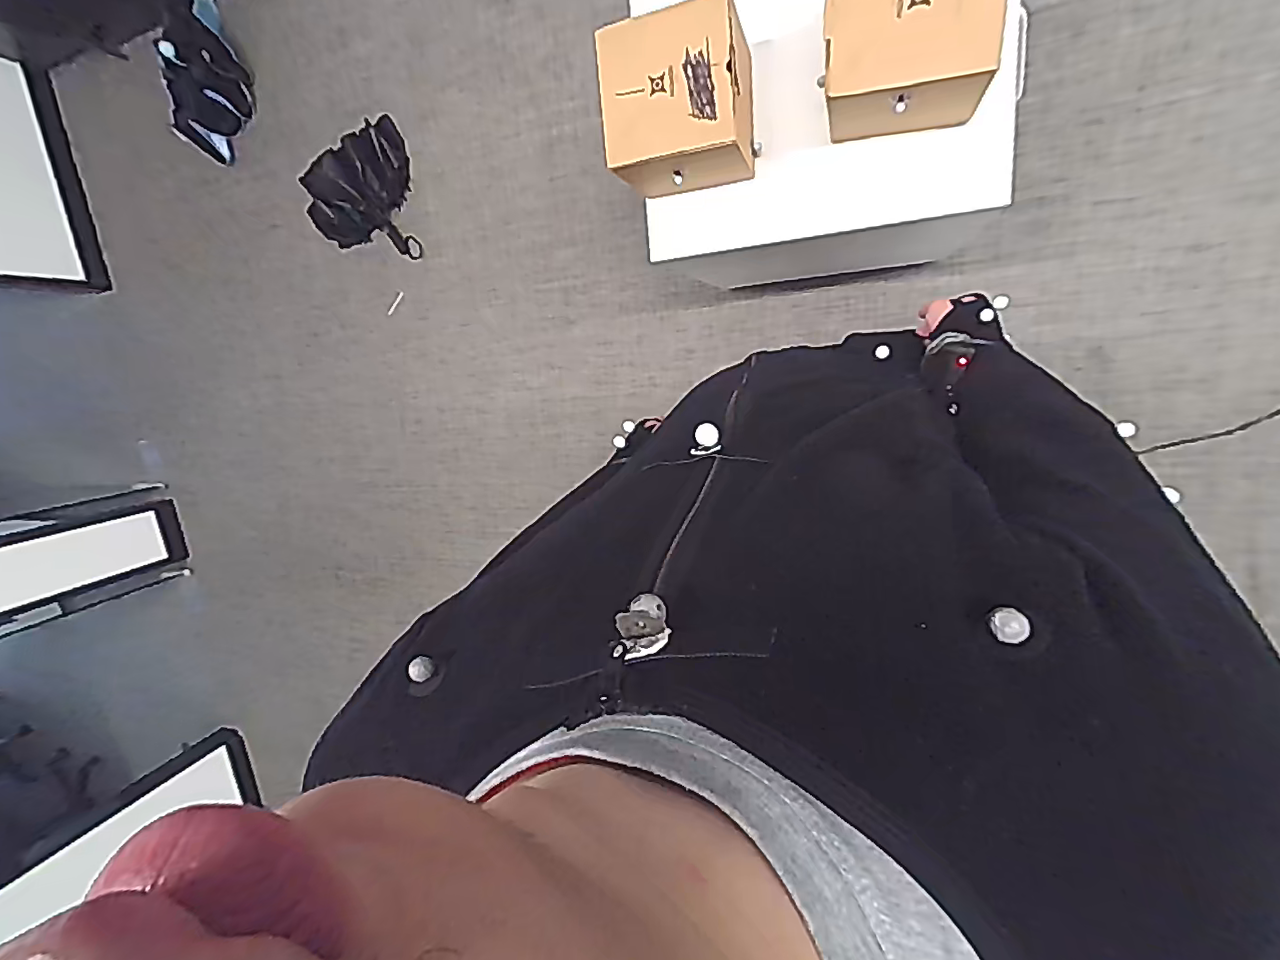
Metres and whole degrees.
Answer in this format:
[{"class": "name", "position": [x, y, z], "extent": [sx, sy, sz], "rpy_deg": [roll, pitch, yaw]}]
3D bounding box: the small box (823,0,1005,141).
[{"class": "small box", "position": [0.320, -0.531, 0.648], "extent": [0.179, 0.176, 0.168], "rpy_deg": [4, 106, 20]}]

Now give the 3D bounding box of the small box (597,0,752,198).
[{"class": "small box", "position": [0.058, -0.512, 0.752], "extent": [0.179, 0.176, 0.168], "rpy_deg": [0, 103, 21]}]
